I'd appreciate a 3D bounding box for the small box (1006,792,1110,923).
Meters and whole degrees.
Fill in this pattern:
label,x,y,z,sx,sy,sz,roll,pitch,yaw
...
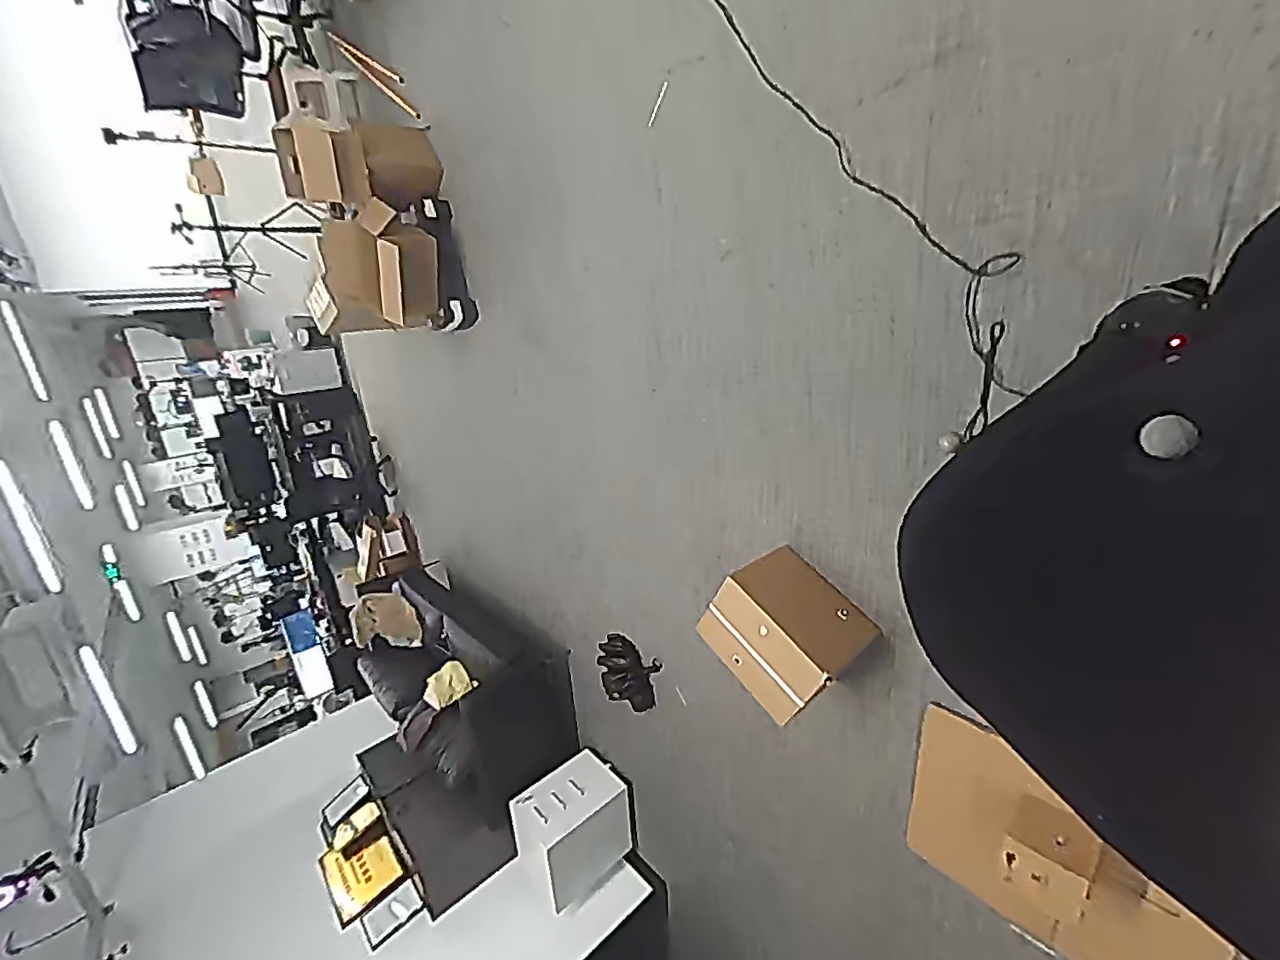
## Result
label,x,y,z,sx,sy,sz,roll,pitch,yaw
small box,1.053,0.936,1.362,0.179,0.176,0.168,11,115,47
